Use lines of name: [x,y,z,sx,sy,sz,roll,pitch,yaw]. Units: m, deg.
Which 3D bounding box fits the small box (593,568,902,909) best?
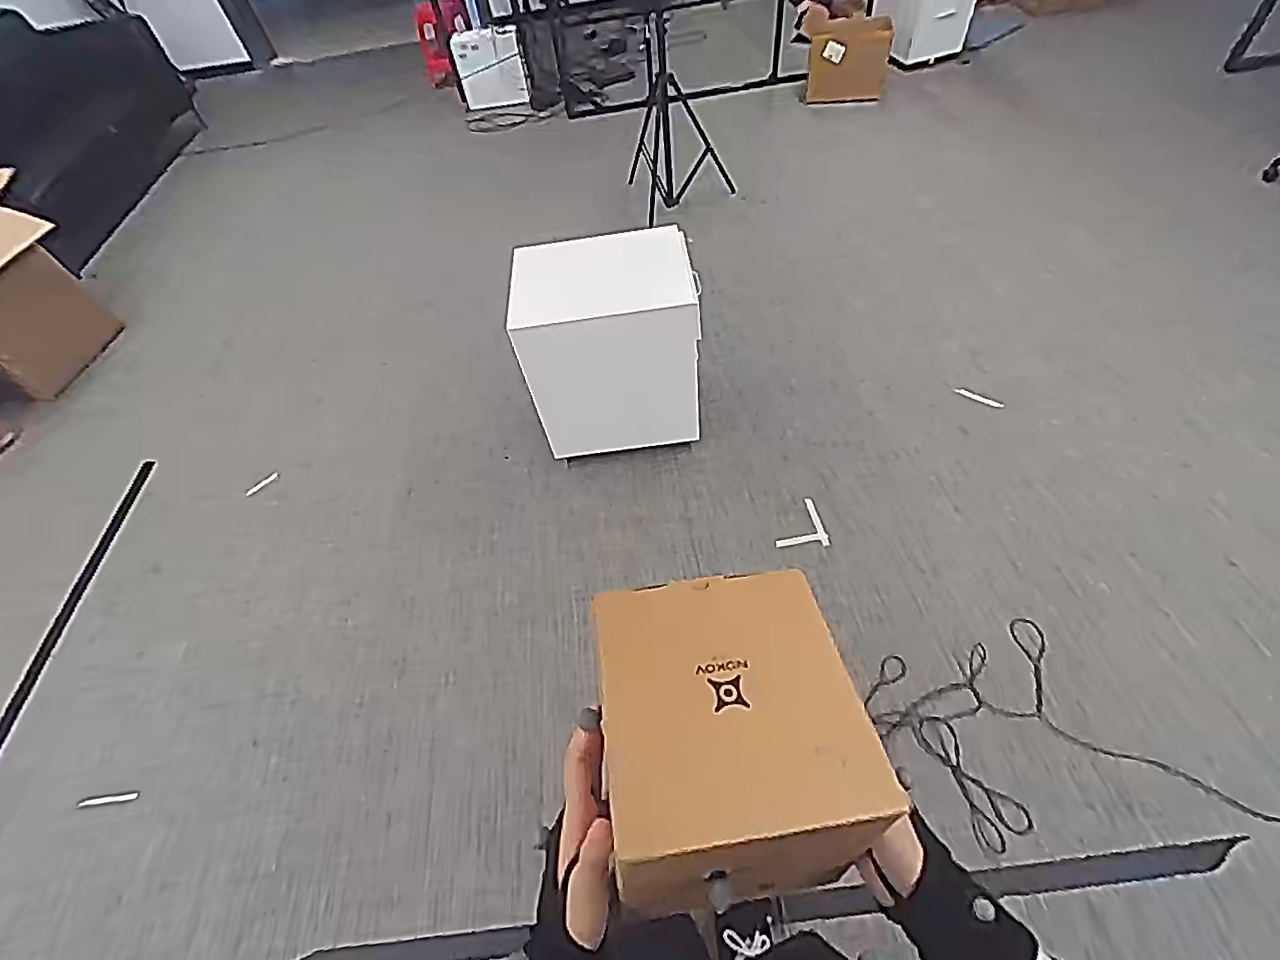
small box: [0.058,0.194,0.408,0.168,0.176,0.179,-6,41,-6]
